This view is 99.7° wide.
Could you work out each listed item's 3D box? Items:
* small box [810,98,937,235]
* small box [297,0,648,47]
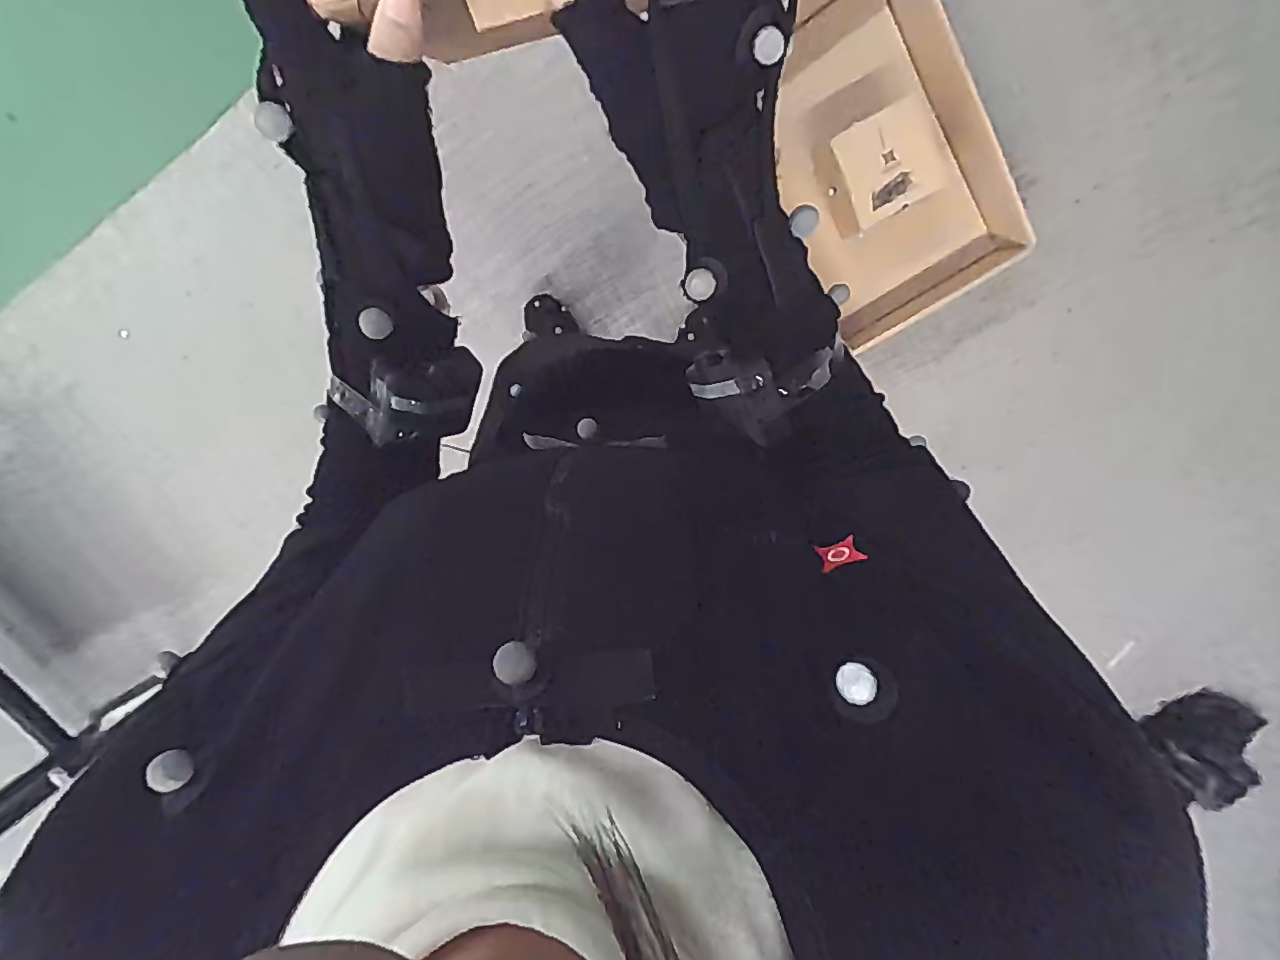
[{"bbox_3d":[0.461,-0.613,1.088,0.168,0.176,0.179,-23,103,12],"label":"small box"},{"bbox_3d":[-0.076,-0.319,0.237,0.168,0.176,0.179,-10,121,6],"label":"small box"}]
